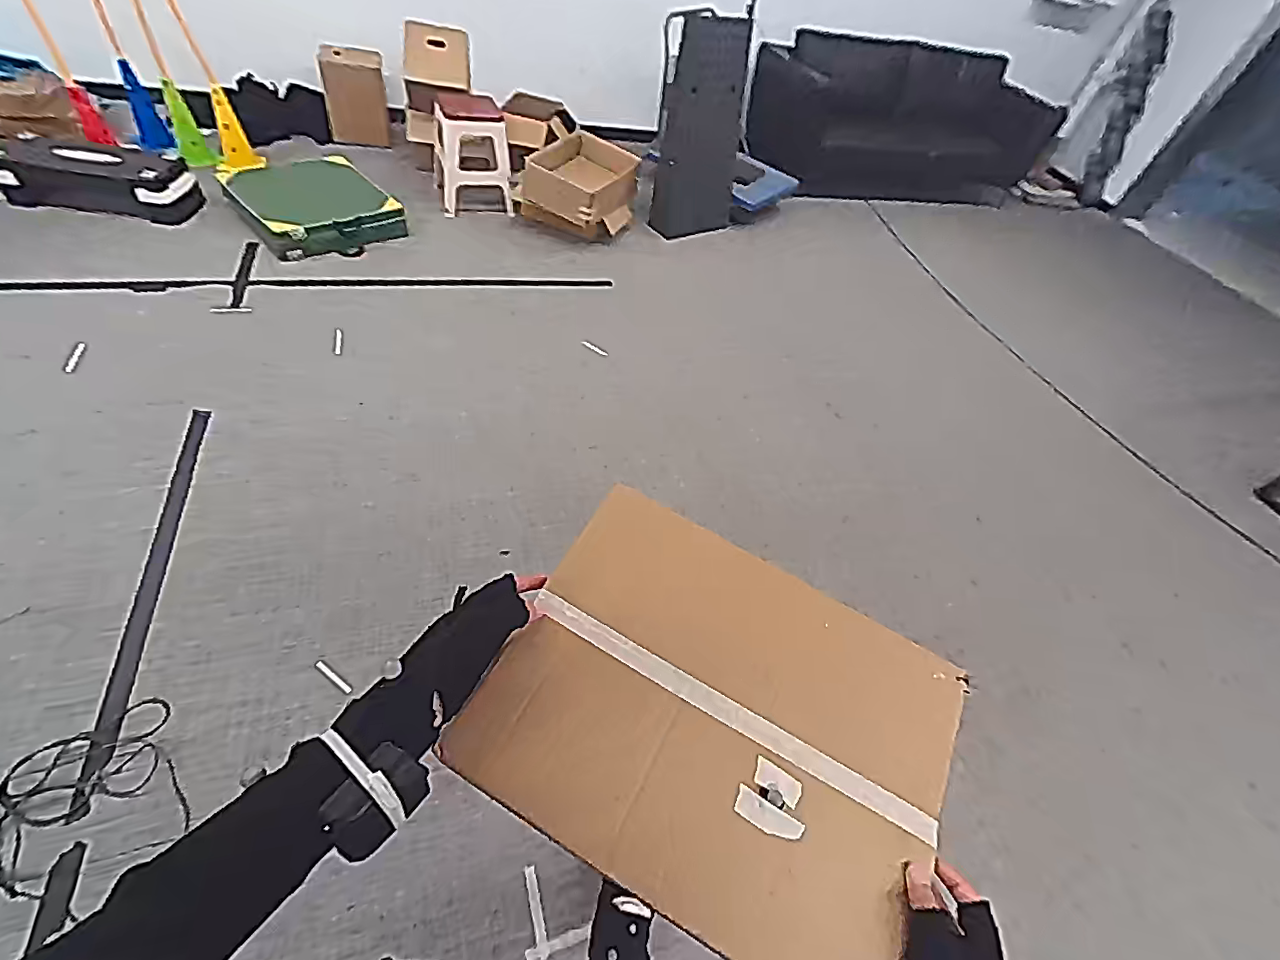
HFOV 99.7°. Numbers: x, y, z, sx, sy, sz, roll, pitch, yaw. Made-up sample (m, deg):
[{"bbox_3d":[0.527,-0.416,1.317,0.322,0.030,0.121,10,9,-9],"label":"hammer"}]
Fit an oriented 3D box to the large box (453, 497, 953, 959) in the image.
[{"bbox_3d":[0.060,0.292,0.635,0.408,0.320,0.320,29,60,9],"label":"large box"}]
